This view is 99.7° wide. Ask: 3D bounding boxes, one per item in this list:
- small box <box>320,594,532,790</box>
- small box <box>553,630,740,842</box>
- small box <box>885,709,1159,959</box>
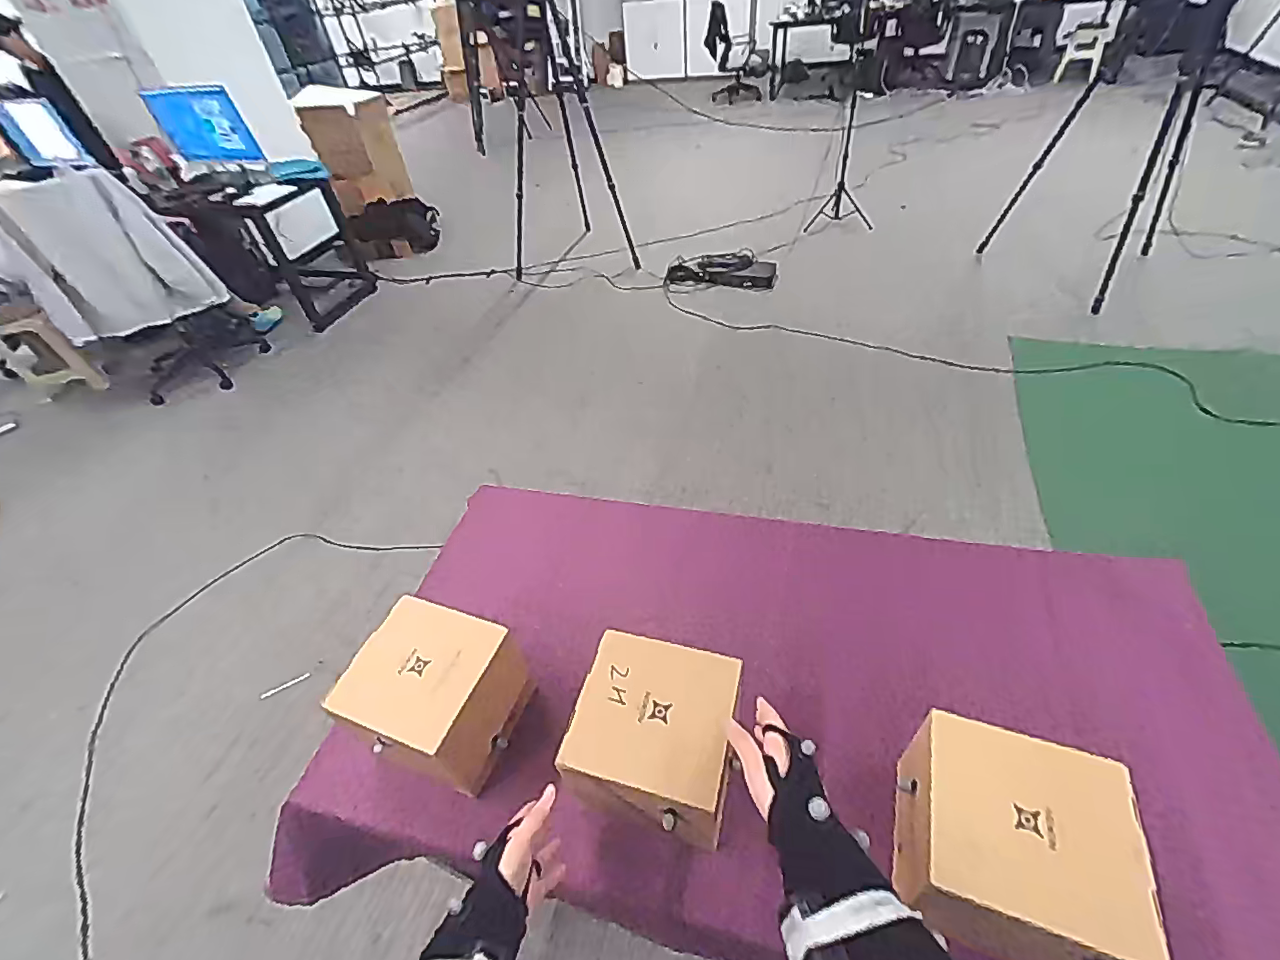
[{"bbox_3d":[-0.272,0.287,0.730,0.179,0.176,0.168,13,48,18],"label":"small box"},{"bbox_3d":[0.020,0.314,0.661,0.179,0.176,0.168,8,46,16],"label":"small box"},{"bbox_3d":[0.364,0.373,0.556,0.179,0.176,0.168,12,48,18],"label":"small box"}]
